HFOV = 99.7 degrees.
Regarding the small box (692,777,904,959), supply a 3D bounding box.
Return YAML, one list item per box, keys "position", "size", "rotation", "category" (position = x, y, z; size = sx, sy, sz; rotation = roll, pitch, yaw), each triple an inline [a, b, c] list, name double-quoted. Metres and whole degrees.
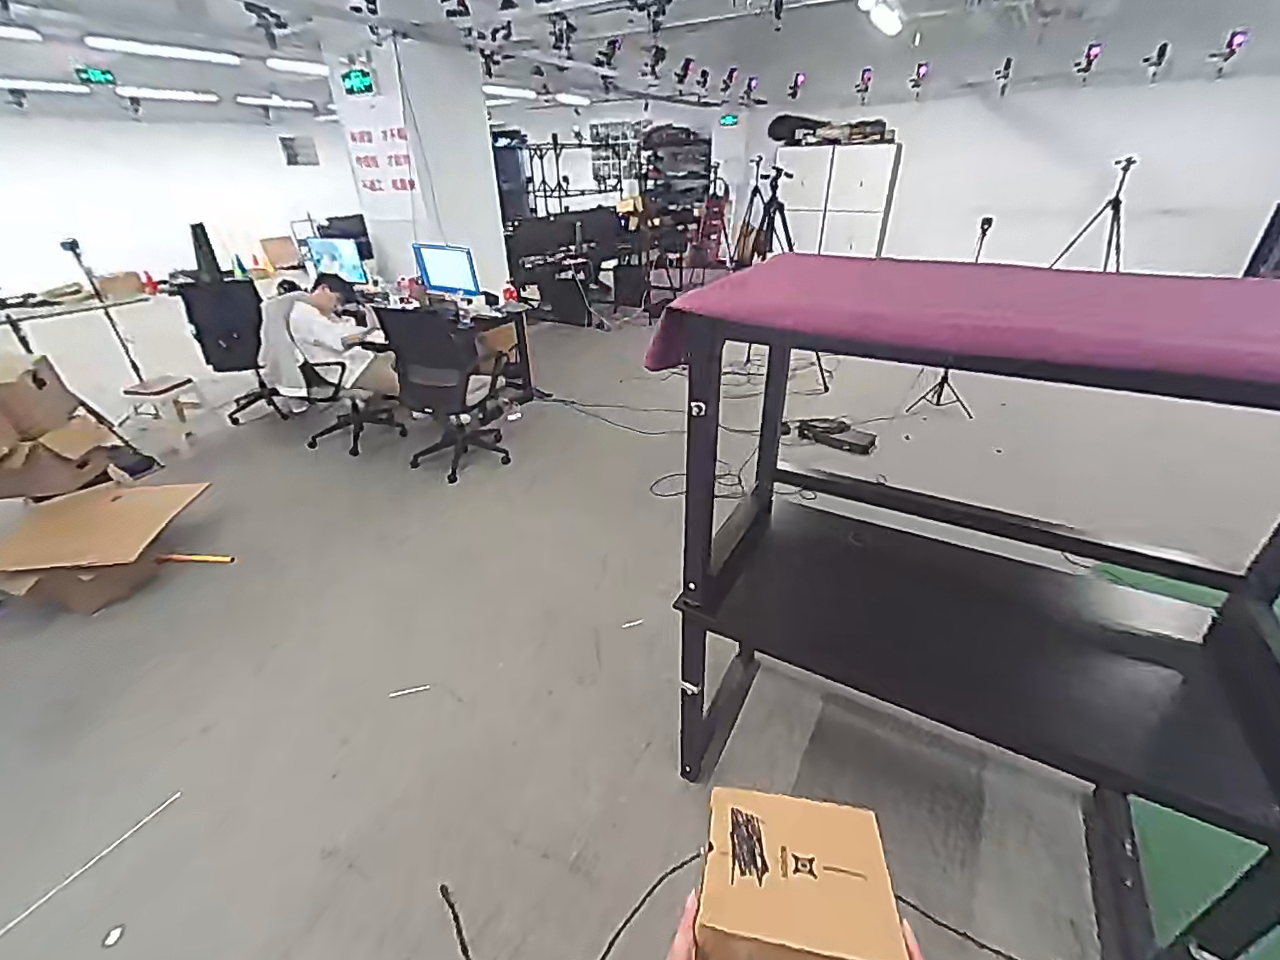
- position: [0.149, 0.441, 0.543]
  size: [0.179, 0.176, 0.168]
  rotation: [2, 13, 13]
  category: "small box"
